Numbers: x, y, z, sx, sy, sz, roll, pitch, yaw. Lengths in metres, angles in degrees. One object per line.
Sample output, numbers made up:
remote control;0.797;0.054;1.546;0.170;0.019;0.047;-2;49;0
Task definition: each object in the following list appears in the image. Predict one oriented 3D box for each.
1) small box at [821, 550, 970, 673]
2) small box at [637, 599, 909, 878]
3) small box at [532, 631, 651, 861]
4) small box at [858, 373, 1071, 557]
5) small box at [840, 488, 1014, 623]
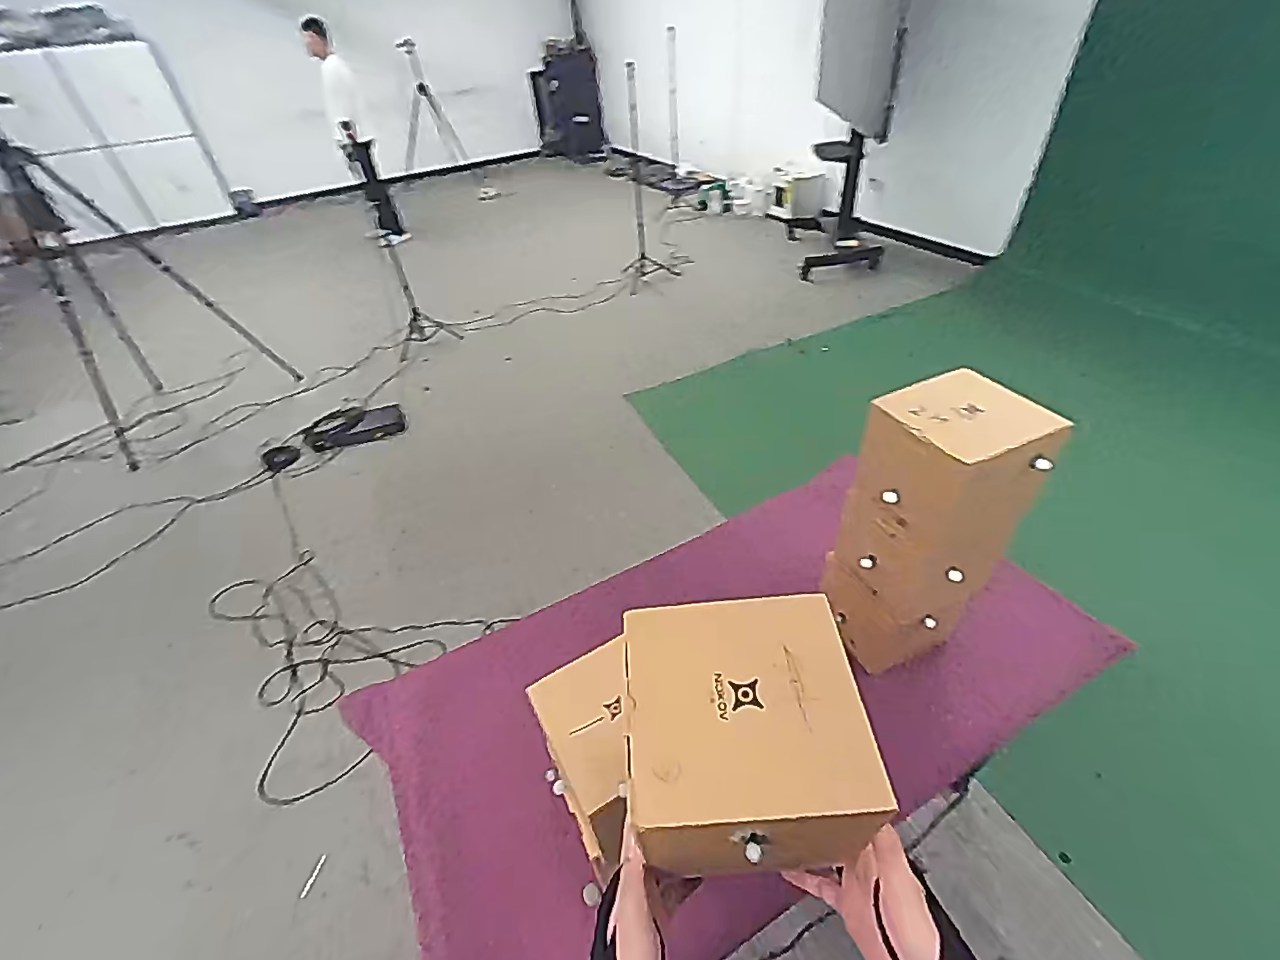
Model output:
small box;0.453;0.218;0.992;0.179;0.176;0.168;-19;43;-15
small box;0.093;0.221;0.458;0.179;0.176;0.168;-4;44;2
small box;-0.011;0.319;0.666;0.179;0.176;0.168;-24;44;-20
small box;0.440;-0.023;0.768;0.179;0.176;0.168;-19;42;-14
small box;0.446;0.101;0.877;0.179;0.176;0.168;-19;43;-14
